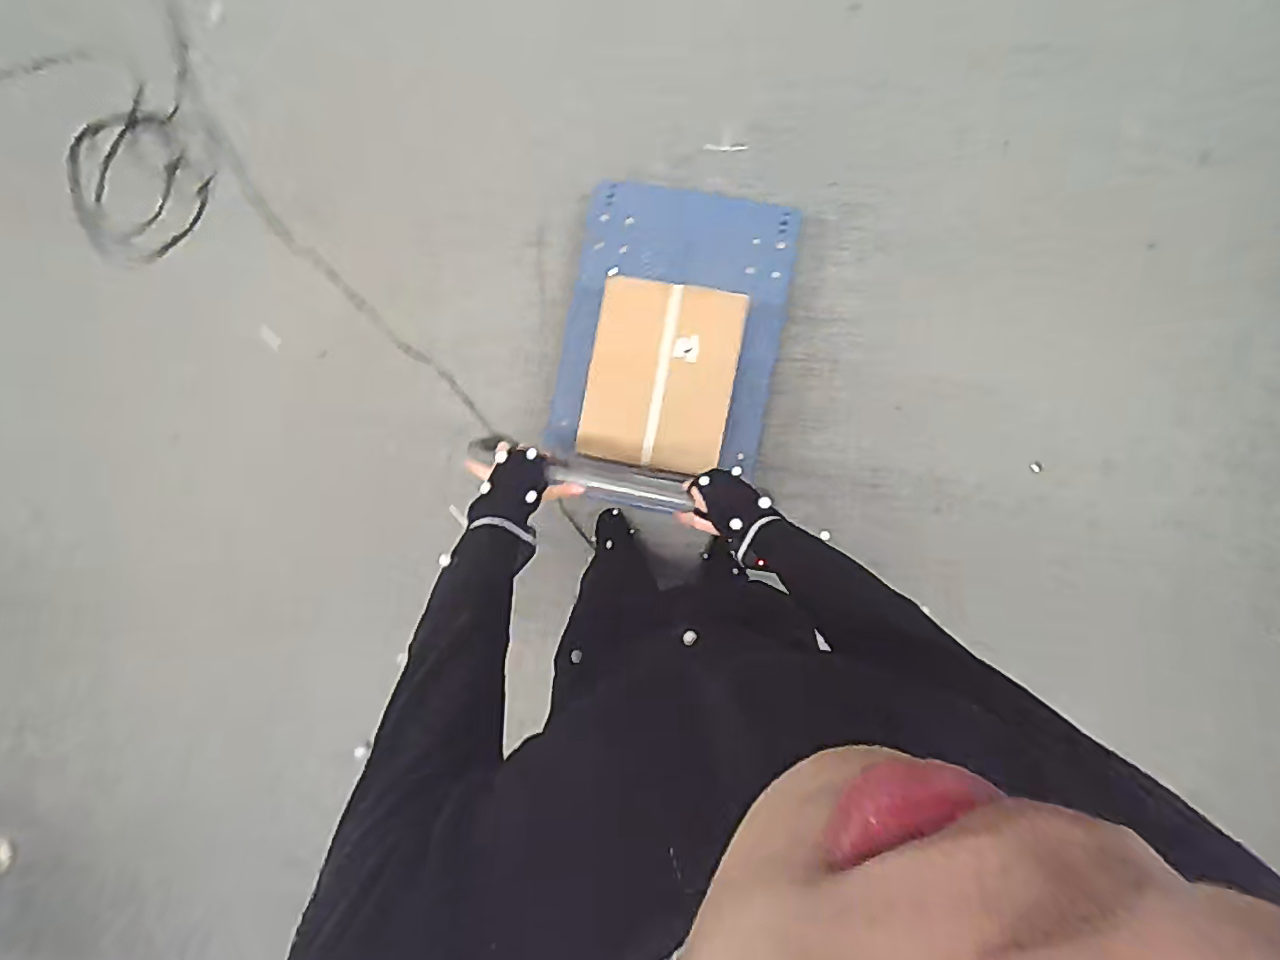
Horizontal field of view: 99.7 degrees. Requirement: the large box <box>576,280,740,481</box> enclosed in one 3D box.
[{"bbox_3d":[0.051,-0.221,1.333,0.320,0.320,0.408,10,89,4],"label":"large box"}]
